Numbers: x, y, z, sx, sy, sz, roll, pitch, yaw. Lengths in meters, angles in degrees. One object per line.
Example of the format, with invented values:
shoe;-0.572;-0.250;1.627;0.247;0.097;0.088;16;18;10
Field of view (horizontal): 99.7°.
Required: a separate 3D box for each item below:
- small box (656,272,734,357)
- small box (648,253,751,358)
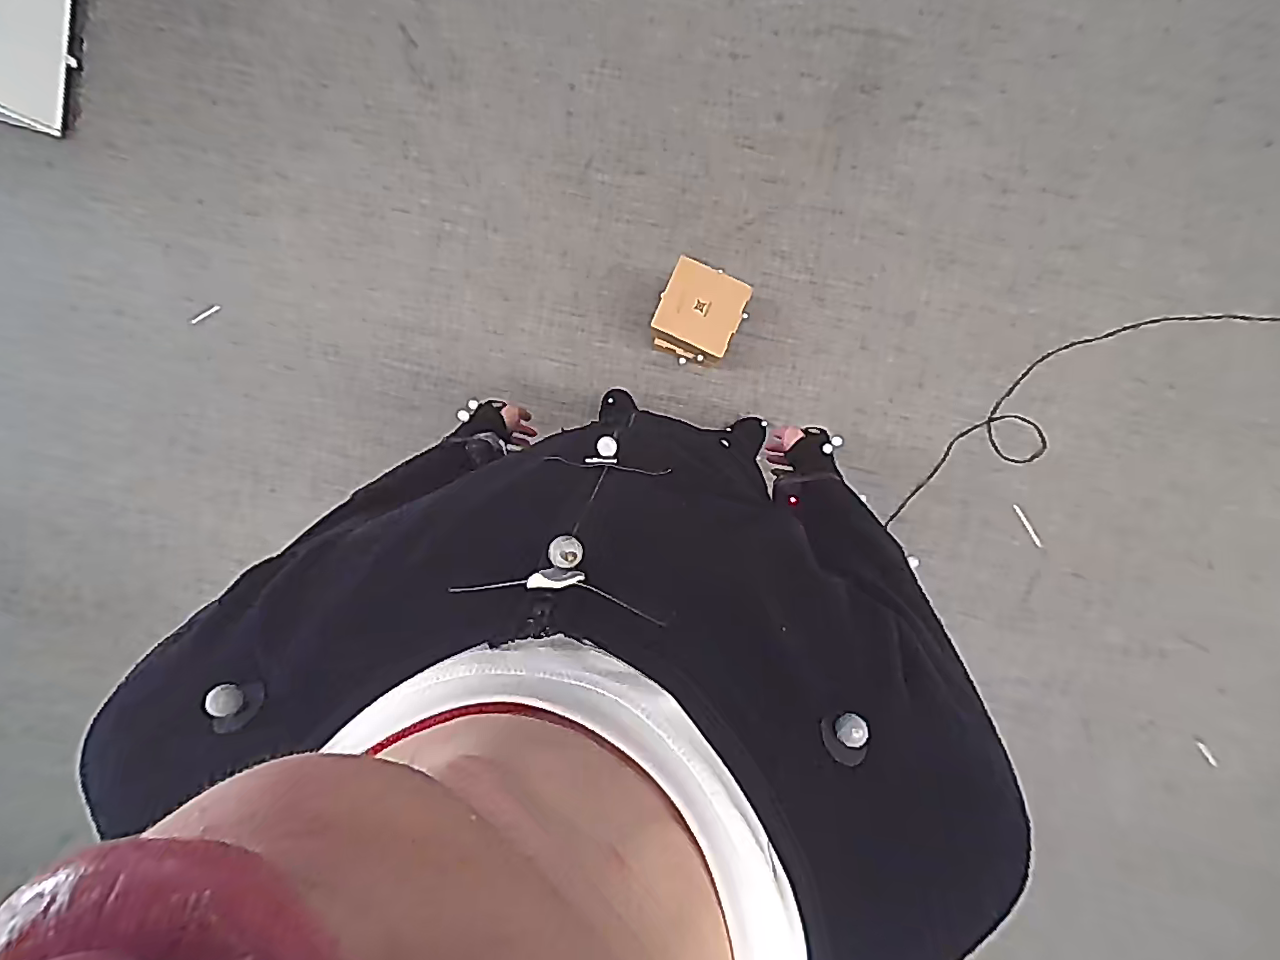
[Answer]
small box;0.145;-0.422;1.406;0.179;0.176;0.168;-9;96;7
small box;0.135;-0.394;1.254;0.179;0.176;0.168;26;98;1
